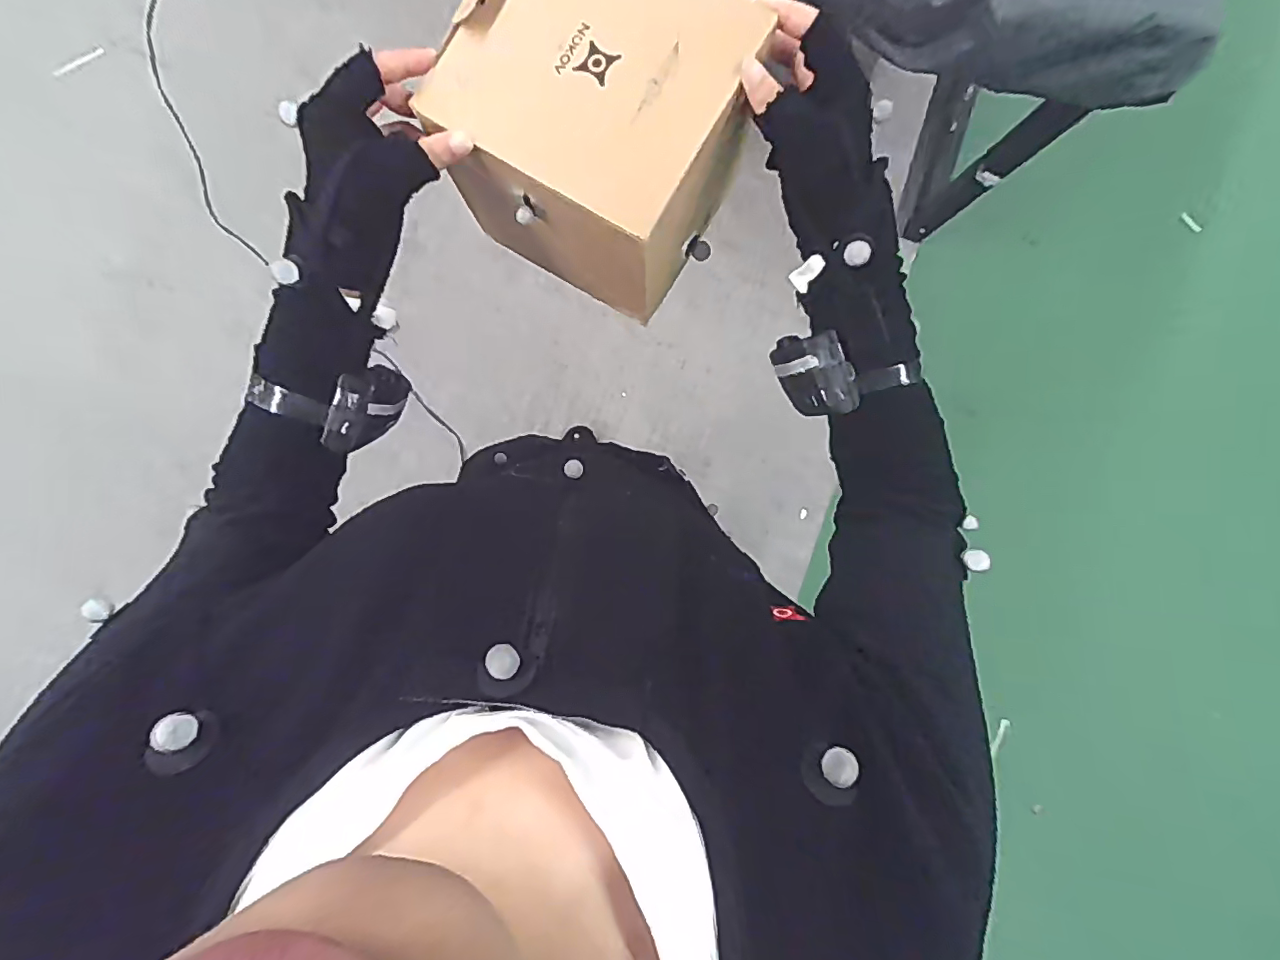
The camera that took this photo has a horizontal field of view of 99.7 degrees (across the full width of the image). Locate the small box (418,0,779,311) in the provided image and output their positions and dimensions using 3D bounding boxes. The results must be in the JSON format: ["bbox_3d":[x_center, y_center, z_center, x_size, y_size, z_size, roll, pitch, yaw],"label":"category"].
[{"bbox_3d":[-0.026,-0.258,0.418,0.179,0.176,0.168,29,89,1],"label":"small box"}]
